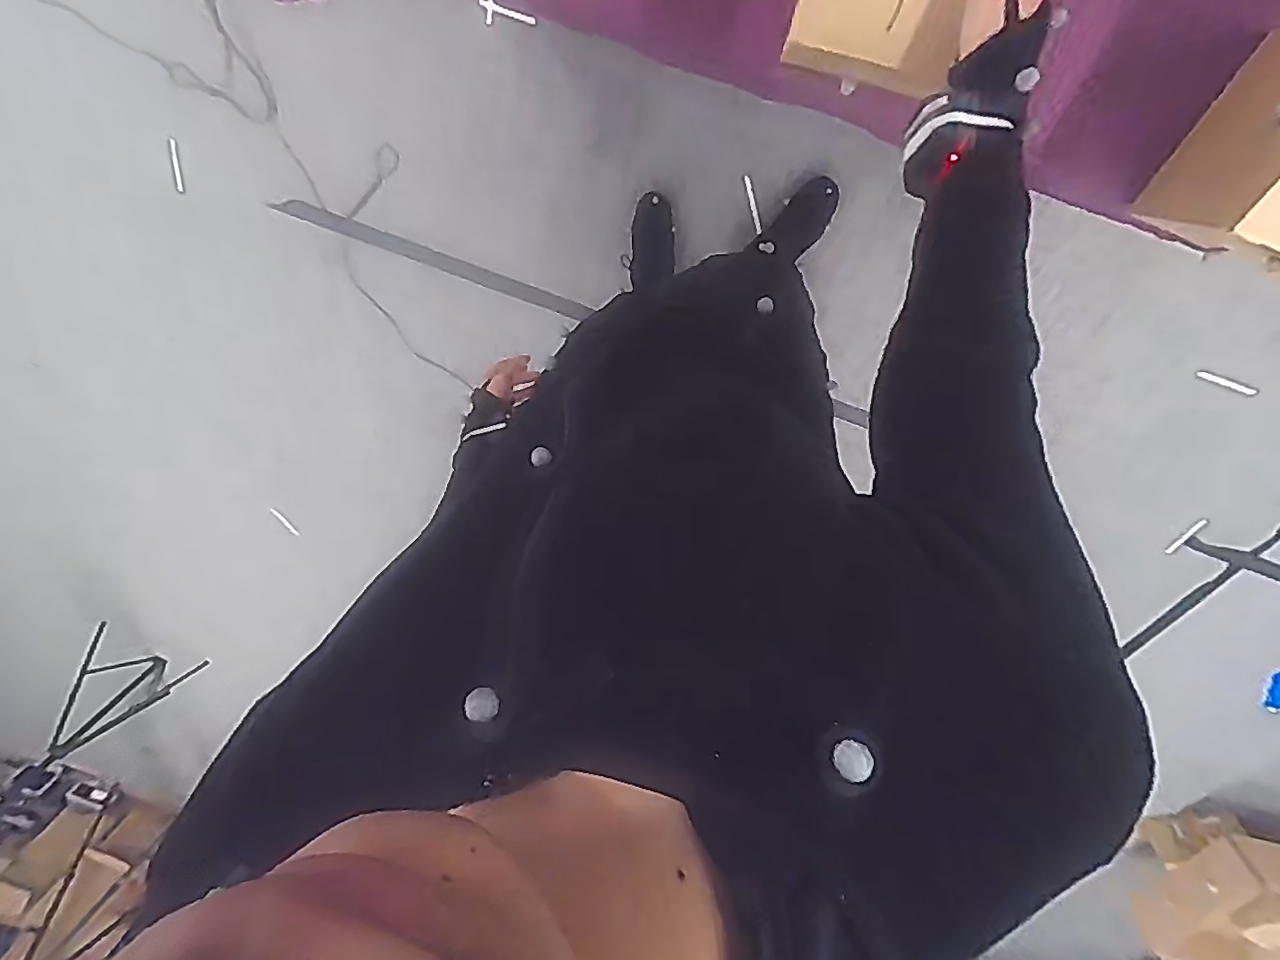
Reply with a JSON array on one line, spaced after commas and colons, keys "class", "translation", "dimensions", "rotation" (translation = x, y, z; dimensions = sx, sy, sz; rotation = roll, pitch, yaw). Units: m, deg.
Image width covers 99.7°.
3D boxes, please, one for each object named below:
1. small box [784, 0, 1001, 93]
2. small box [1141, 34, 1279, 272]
[{"class": "small box", "translation": [0.236, -0.477, 0.489], "dimensions": [0.168, 0.176, 0.179], "rotation": [17, 125, 2]}, {"class": "small box", "translation": [0.647, -0.303, 0.506], "dimensions": [0.168, 0.176, 0.179], "rotation": [23, 124, -2]}]
